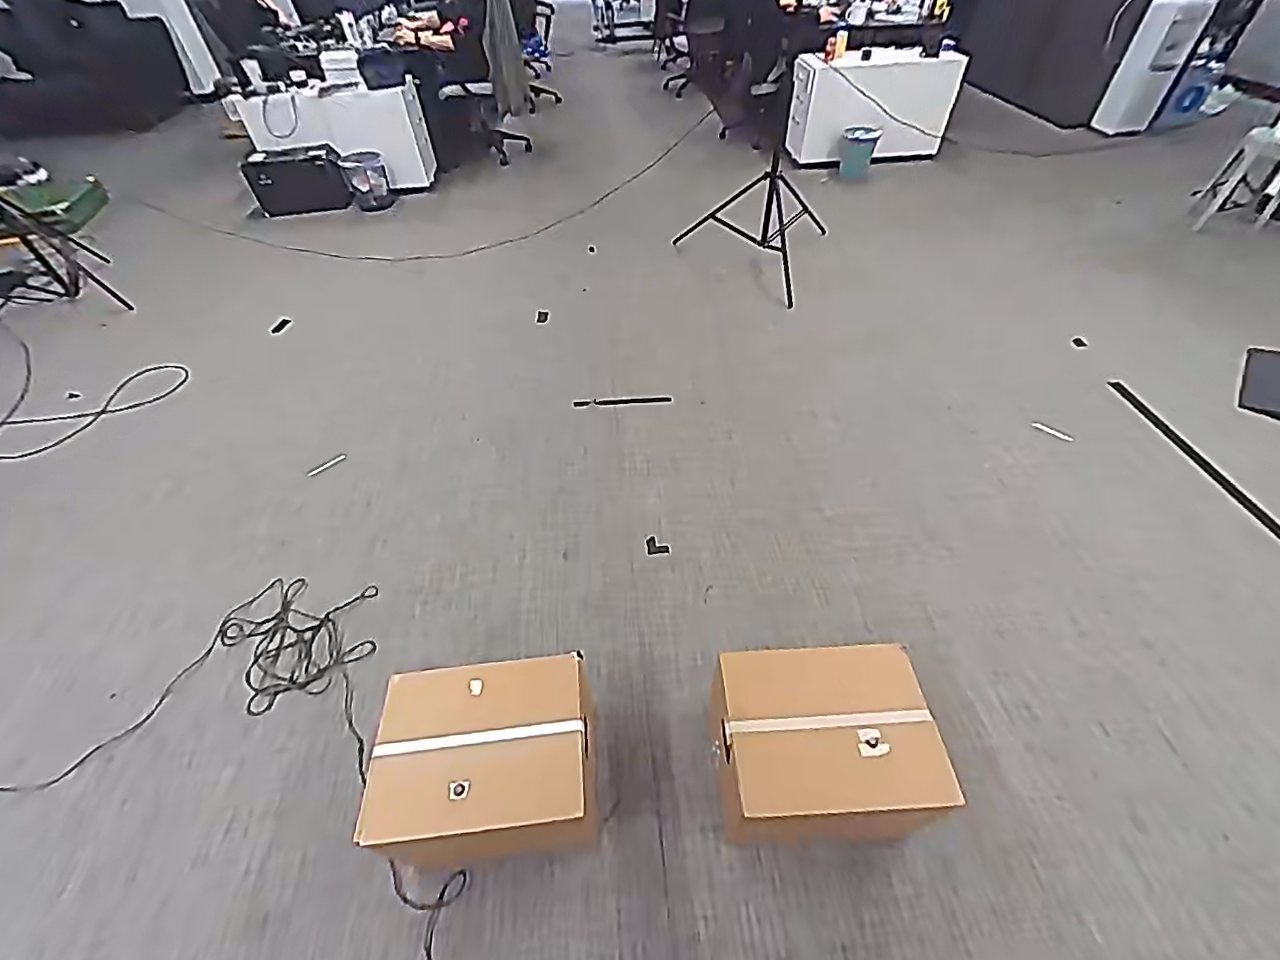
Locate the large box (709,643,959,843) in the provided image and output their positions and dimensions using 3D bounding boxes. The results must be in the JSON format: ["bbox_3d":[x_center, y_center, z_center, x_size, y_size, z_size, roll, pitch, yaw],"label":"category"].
[{"bbox_3d":[0.382,0.581,1.191,0.408,0.320,0.320,-2,48,-1],"label":"large box"}]
